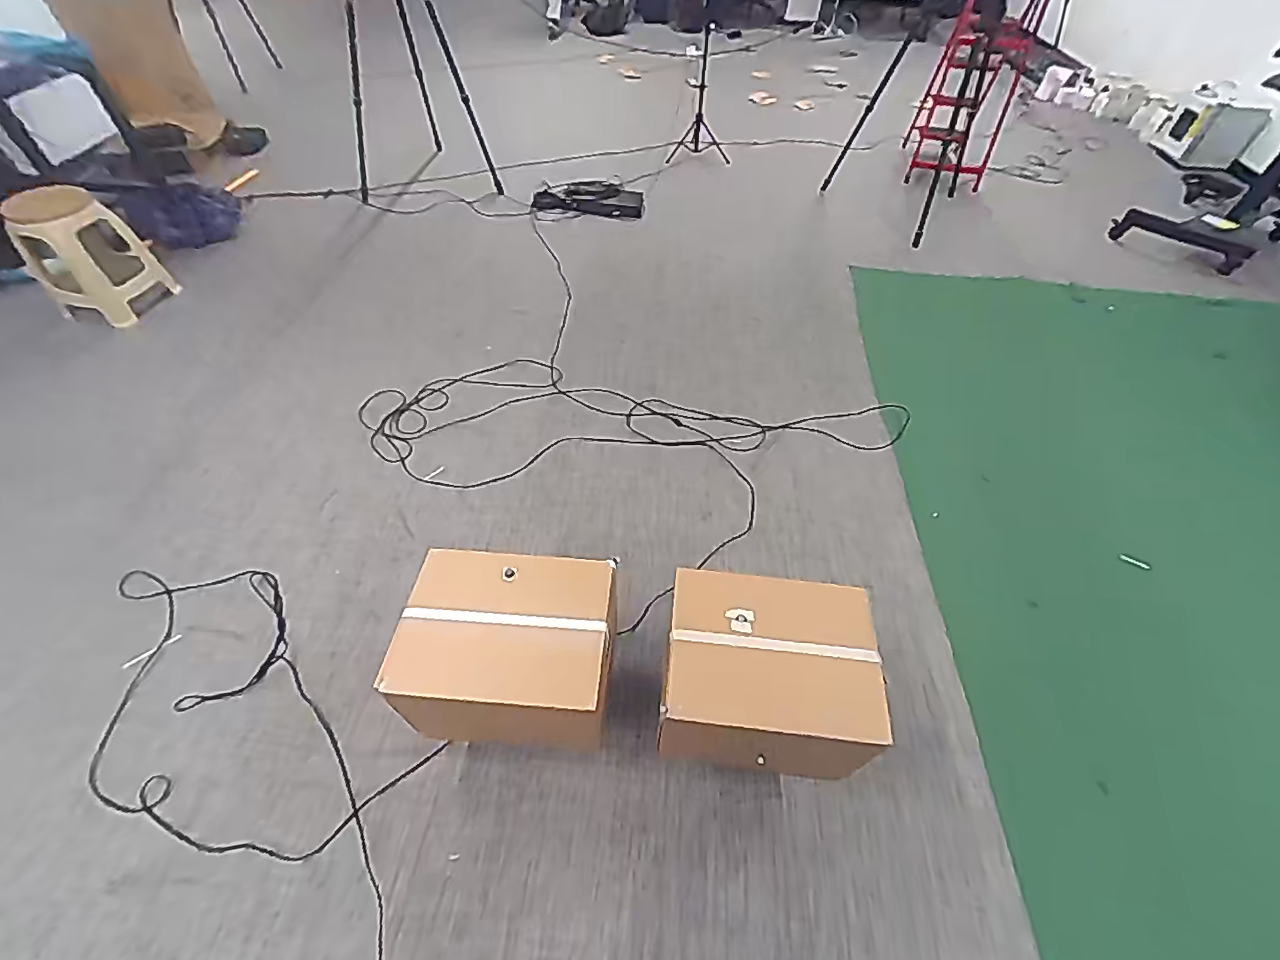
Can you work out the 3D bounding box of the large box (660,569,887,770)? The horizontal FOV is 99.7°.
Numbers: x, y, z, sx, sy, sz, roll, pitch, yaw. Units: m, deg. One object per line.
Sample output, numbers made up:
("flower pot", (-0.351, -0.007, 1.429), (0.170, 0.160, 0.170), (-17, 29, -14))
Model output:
("large box", (0.261, 0.421, 1.185), (0.408, 0.320, 0.320), (6, 51, 4))
